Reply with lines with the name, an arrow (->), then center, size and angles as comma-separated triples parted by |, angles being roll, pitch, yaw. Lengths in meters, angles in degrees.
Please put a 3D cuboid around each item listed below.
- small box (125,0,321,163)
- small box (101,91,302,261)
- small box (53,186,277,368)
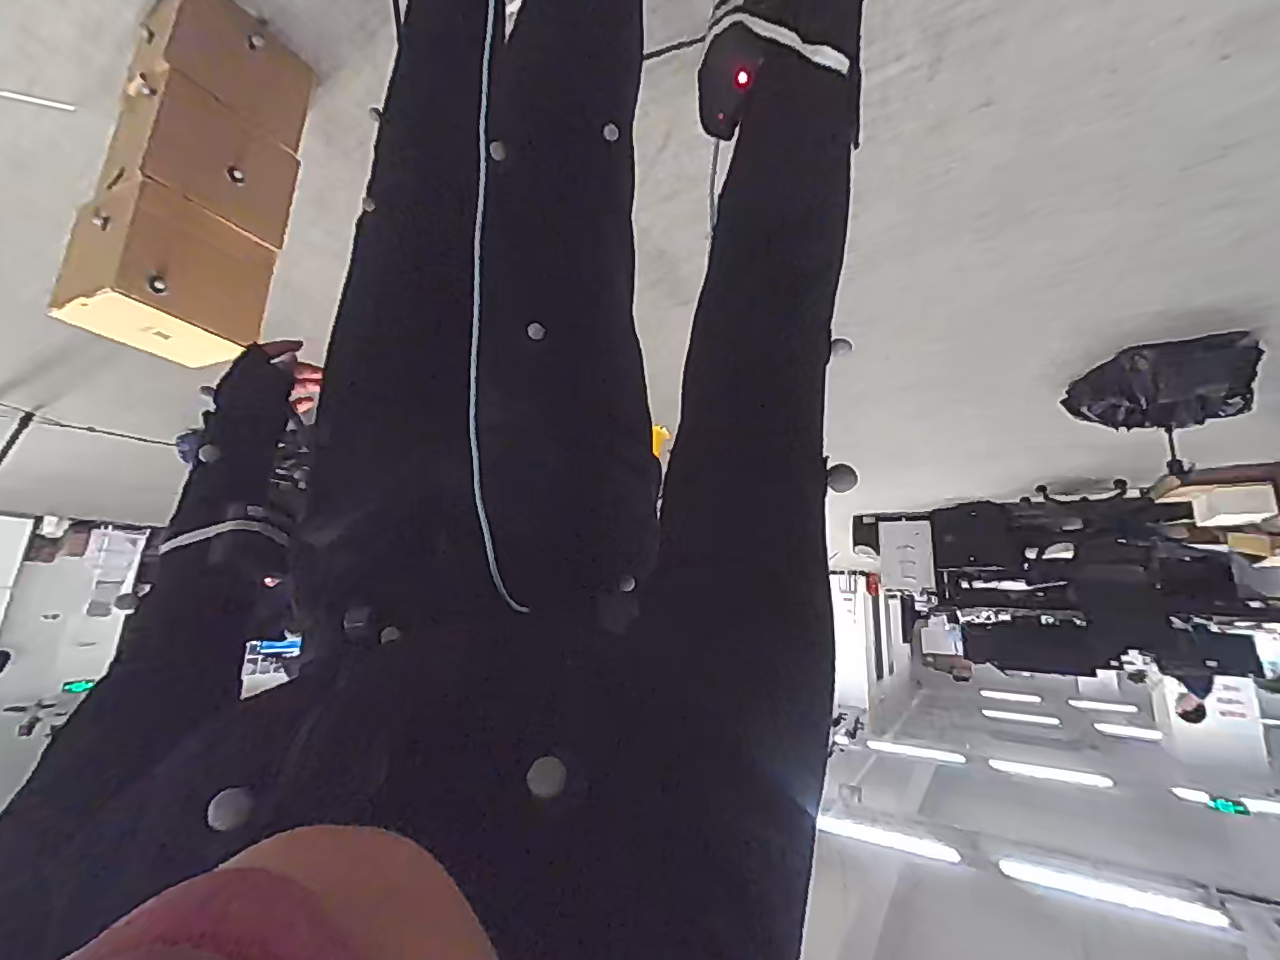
small box -> -0.643, -0.603, 0.848 | 0.168, 0.176, 0.179 | -2, 165, 32
small box -> -0.653, -0.439, 0.816 | 0.168, 0.176, 0.179 | -4, 166, 28
small box -> -0.668, -0.281, 0.781 | 0.168, 0.176, 0.179 | -3, 165, 23
